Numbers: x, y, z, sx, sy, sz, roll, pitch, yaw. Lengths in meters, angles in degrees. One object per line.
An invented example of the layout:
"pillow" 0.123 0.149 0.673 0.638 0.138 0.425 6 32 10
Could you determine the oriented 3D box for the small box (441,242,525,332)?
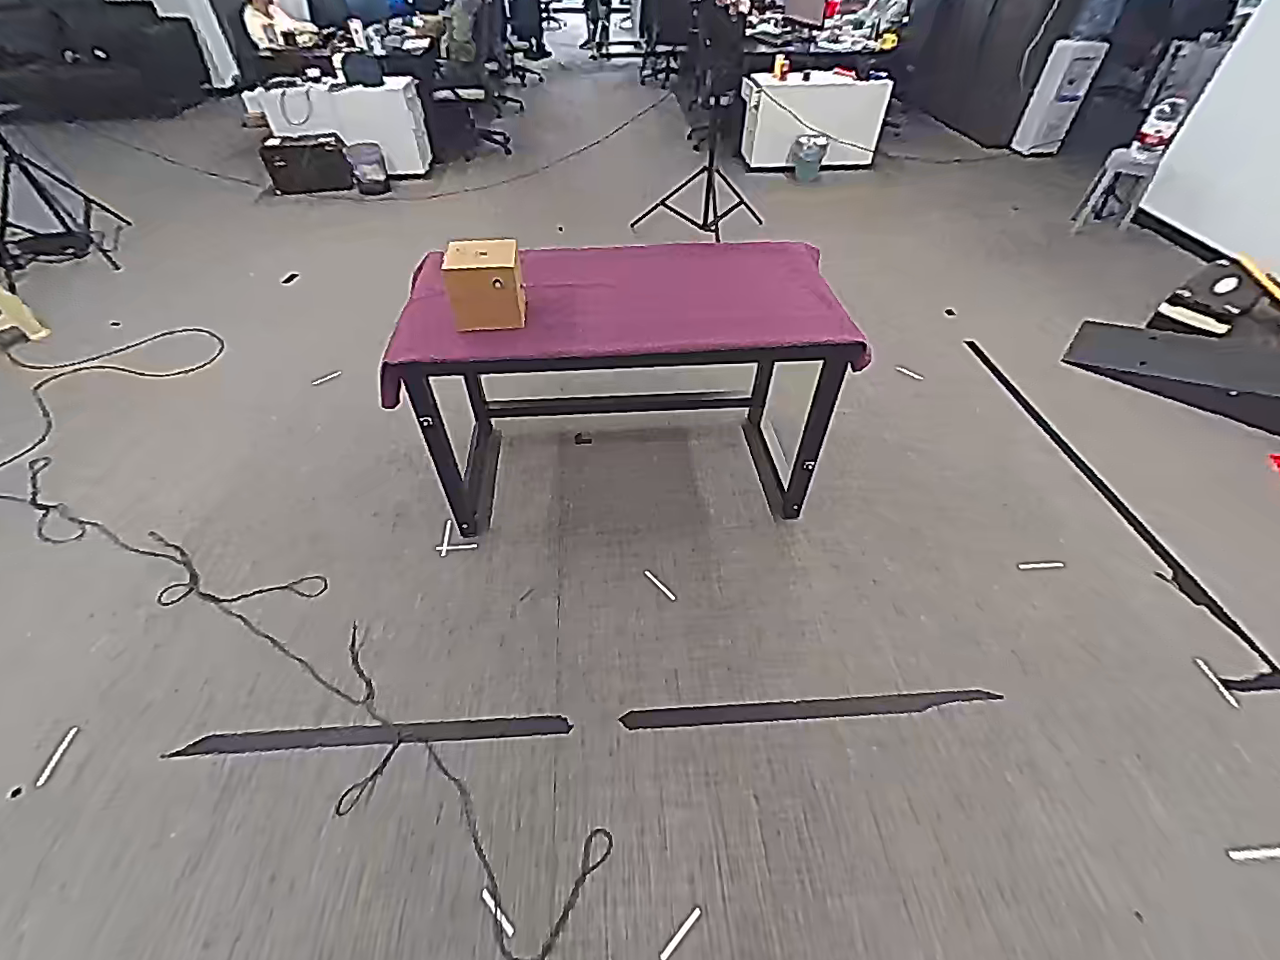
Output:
"small box" -0.399 -0.501 1.410 0.179 0.176 0.168 -5 45 -5
